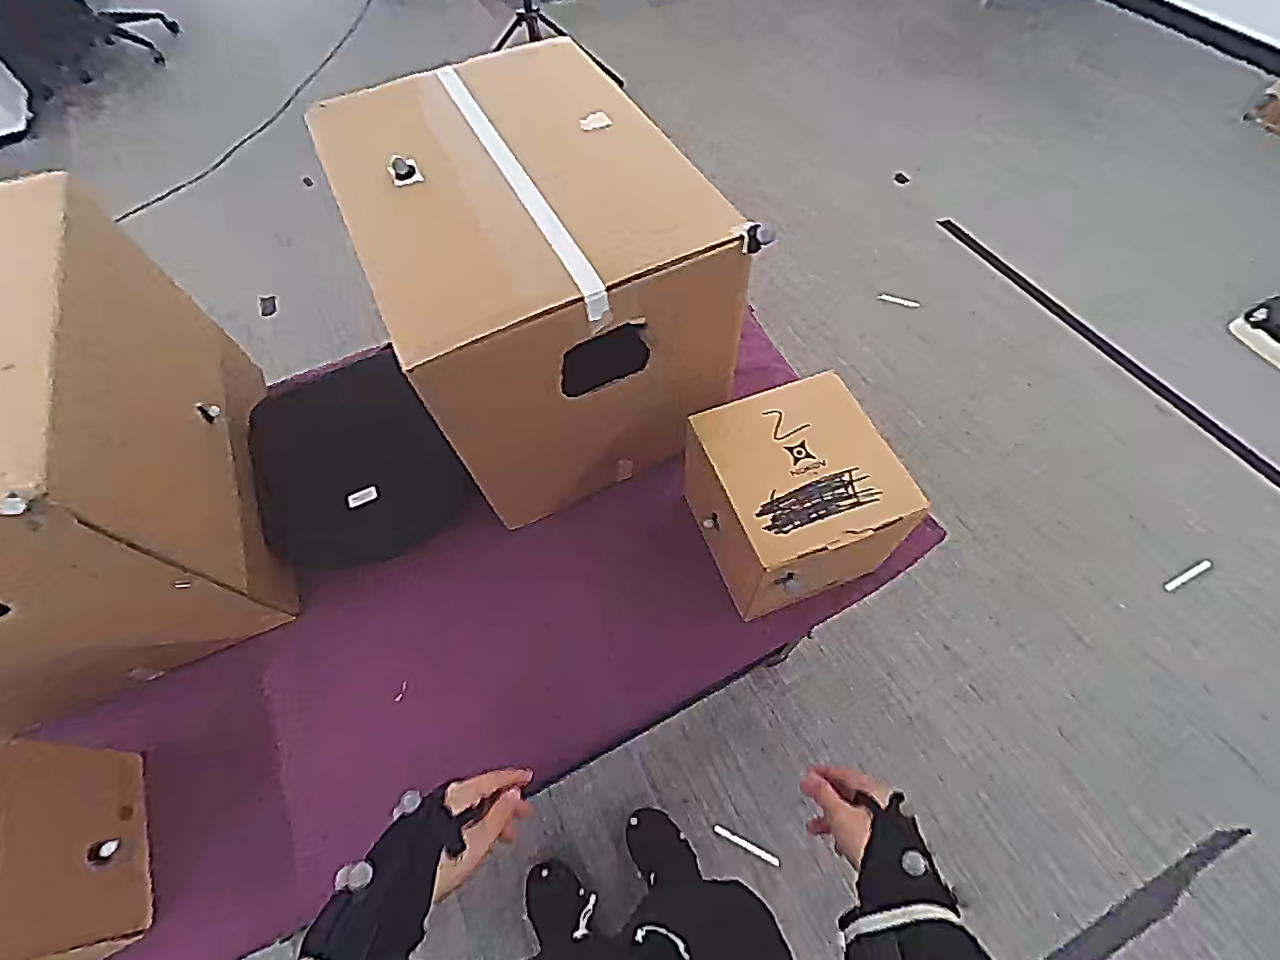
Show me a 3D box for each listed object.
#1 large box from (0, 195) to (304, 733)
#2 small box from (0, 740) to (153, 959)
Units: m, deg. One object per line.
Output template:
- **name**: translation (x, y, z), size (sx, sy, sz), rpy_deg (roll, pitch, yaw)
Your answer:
- **large box**: translation (-0.620, -0.006, 0.567), size (0.320, 0.320, 0.408), rpy_deg (-24, 65, -10)
- **small box**: translation (-0.560, 0.344, 0.442), size (0.179, 0.176, 0.168), rpy_deg (-26, 62, -15)
